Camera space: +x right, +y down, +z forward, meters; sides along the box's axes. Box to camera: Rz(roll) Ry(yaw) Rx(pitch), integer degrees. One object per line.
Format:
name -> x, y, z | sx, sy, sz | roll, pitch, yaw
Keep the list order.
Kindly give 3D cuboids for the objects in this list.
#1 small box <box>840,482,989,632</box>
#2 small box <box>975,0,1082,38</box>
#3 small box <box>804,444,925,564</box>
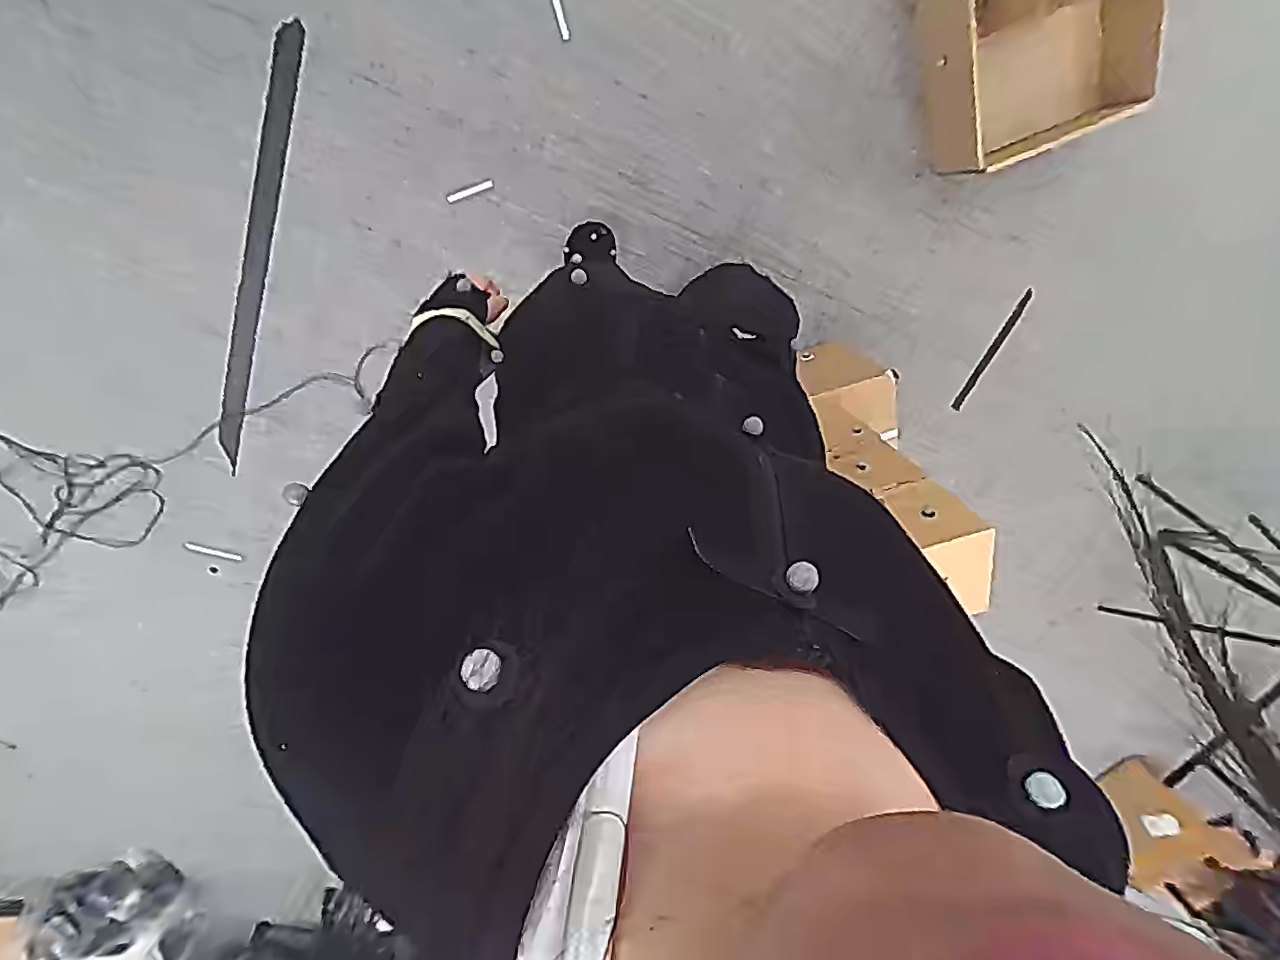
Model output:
small box -> 0.457, 0.121, 0.926 | 0.168, 0.176, 0.179 | -16, 120, 0
small box -> 0.796, -1.014, 1.060 | 0.179, 0.176, 0.168 | -21, 118, 3
small box -> 0.439, 0.045, 1.068 | 0.168, 0.176, 0.179 | -17, 118, 1
